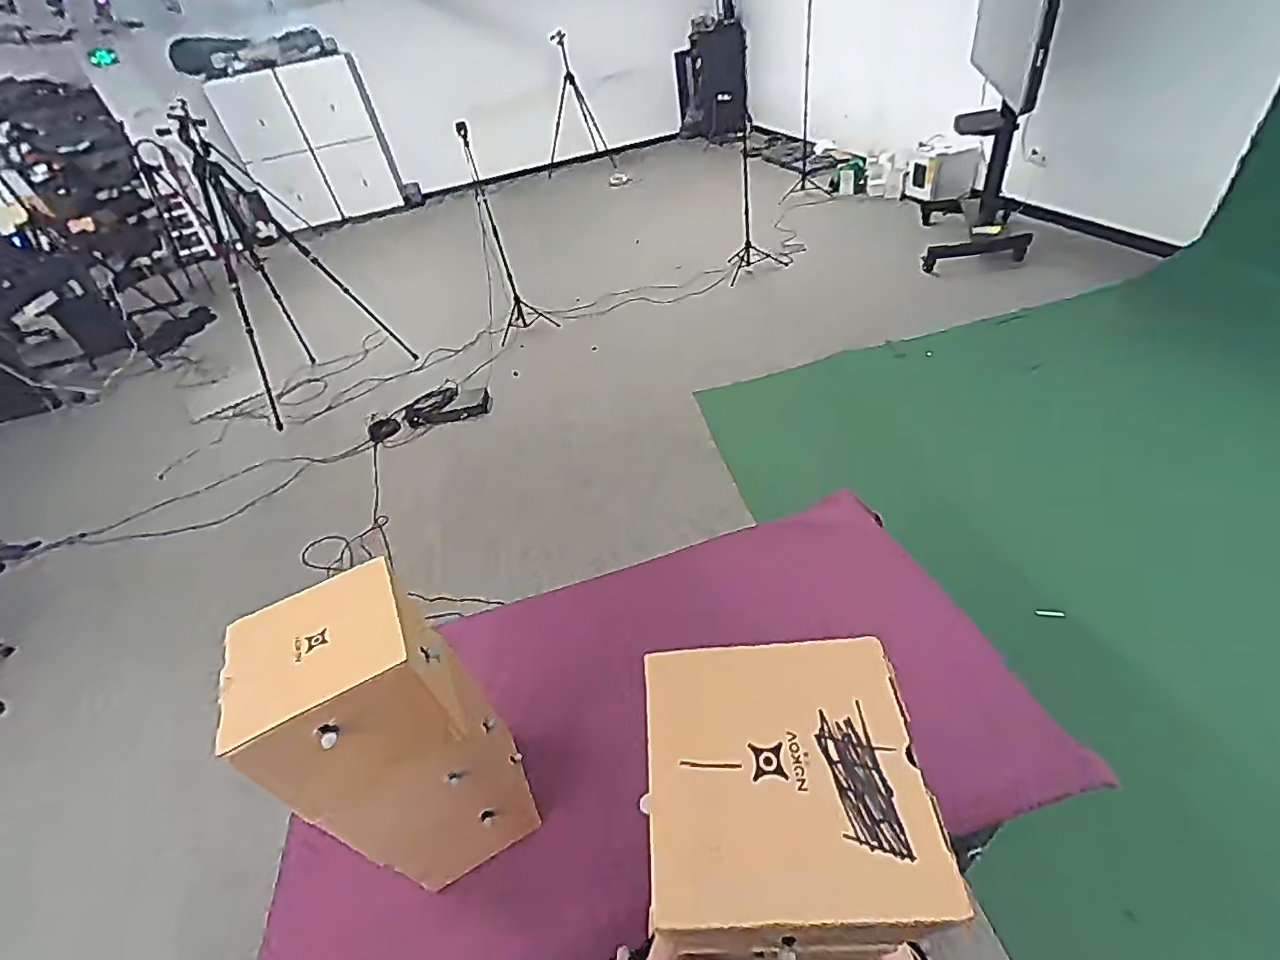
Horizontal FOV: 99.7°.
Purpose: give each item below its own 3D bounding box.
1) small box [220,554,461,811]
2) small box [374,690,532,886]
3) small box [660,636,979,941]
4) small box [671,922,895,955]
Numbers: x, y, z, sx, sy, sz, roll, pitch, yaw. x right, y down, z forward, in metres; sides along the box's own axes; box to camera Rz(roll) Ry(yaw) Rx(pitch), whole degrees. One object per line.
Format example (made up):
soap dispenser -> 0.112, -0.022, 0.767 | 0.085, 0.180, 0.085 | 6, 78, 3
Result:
small box -> -0.316, 0.221, 0.599 | 0.179, 0.176, 0.168 | -25, 43, -16
small box -> -0.276, 0.462, 0.816 | 0.179, 0.176, 0.168 | -24, 42, -15
small box -> 0.108, 0.235, 0.410 | 0.179, 0.176, 0.168 | -4, 46, 4
small box -> 0.122, 0.350, 0.528 | 0.179, 0.176, 0.168 | -4, 46, 5
